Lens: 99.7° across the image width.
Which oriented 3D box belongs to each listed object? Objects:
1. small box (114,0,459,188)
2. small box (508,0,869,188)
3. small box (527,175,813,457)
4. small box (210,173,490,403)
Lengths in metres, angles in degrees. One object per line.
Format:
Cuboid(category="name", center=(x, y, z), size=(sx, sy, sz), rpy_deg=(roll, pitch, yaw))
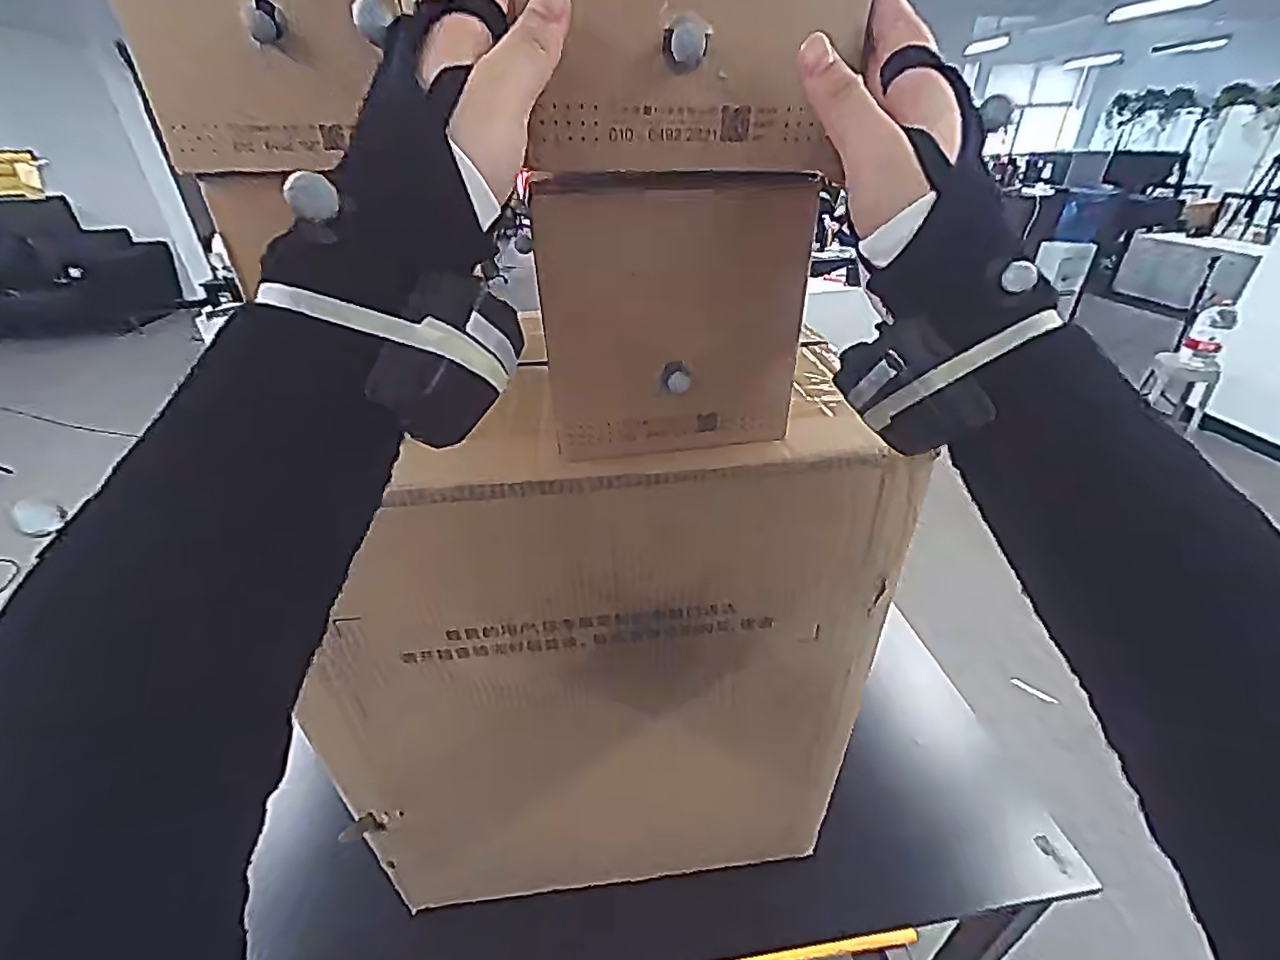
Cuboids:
Cuboid(category="small box", center=(-0.241, -0.316, 0.402), size=(0.168, 0.176, 0.179), rpy_deg=(-6, 32, -8))
Cuboid(category="small box", center=(0.014, -0.266, 0.301), size=(0.168, 0.176, 0.179), rpy_deg=(-4, 33, -6))
Cuboid(category="small box", center=(0.010, -0.134, 0.413), size=(0.168, 0.176, 0.179), rpy_deg=(-7, 33, -6))
Cuboid(category="small box", center=(-0.237, -0.184, 0.501), size=(0.168, 0.176, 0.179), rpy_deg=(-7, 33, -9))
